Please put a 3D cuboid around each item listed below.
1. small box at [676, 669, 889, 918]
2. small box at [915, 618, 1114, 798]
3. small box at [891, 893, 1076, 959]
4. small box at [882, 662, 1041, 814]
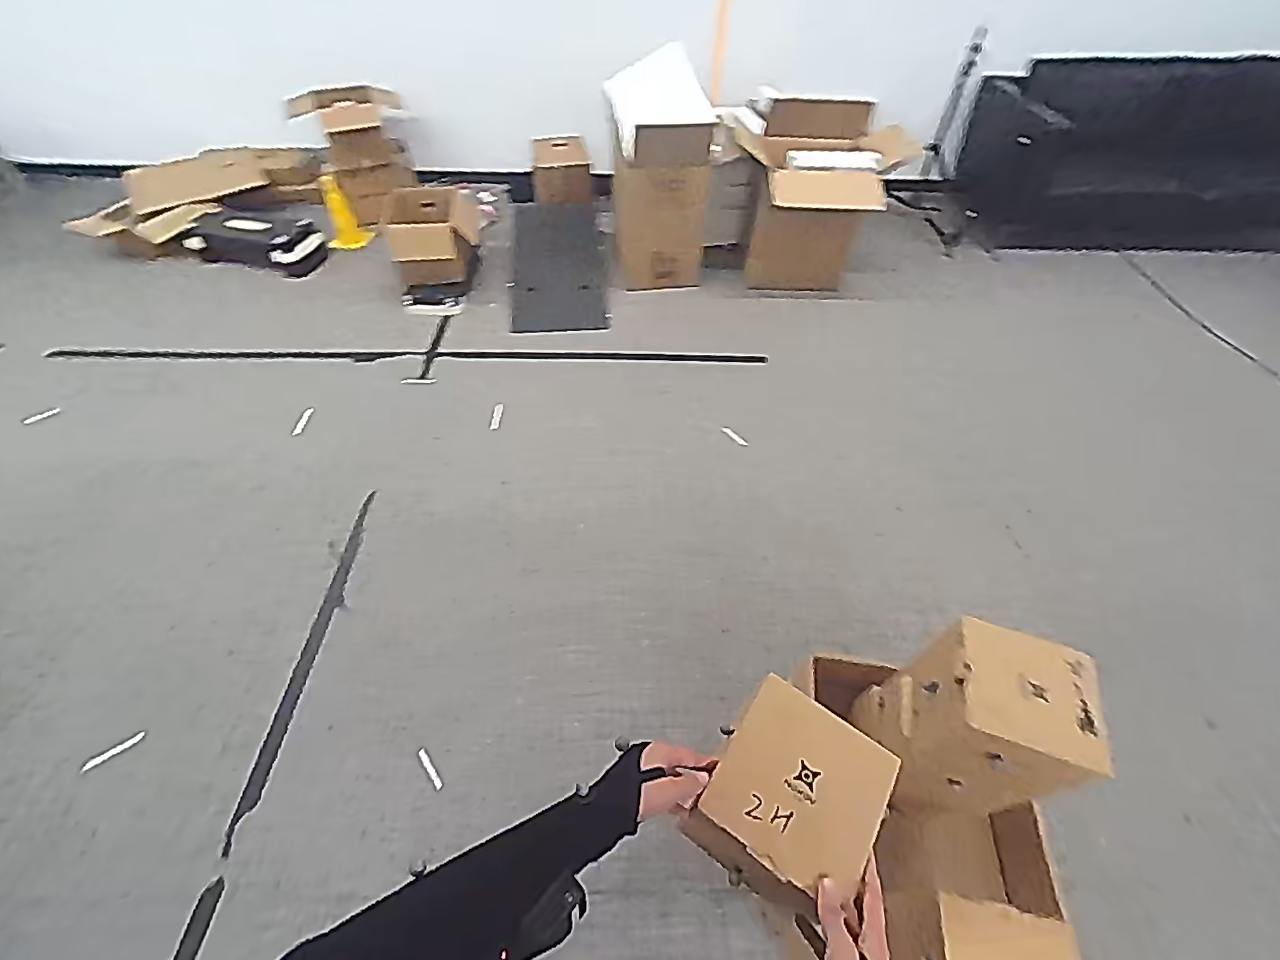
[{"bbox_3d":[0.156,0.365,0.636,0.168,0.176,0.179,30,56,18],"label":"small box"},{"bbox_3d":[0.519,0.332,0.780,0.179,0.176,0.168,17,52,12],"label":"small box"},{"bbox_3d":[0.449,0.675,0.710,0.168,0.176,0.179,11,50,6],"label":"small box"},{"bbox_3d":[0.520,0.437,0.907,0.179,0.176,0.168,15,52,9],"label":"small box"}]
